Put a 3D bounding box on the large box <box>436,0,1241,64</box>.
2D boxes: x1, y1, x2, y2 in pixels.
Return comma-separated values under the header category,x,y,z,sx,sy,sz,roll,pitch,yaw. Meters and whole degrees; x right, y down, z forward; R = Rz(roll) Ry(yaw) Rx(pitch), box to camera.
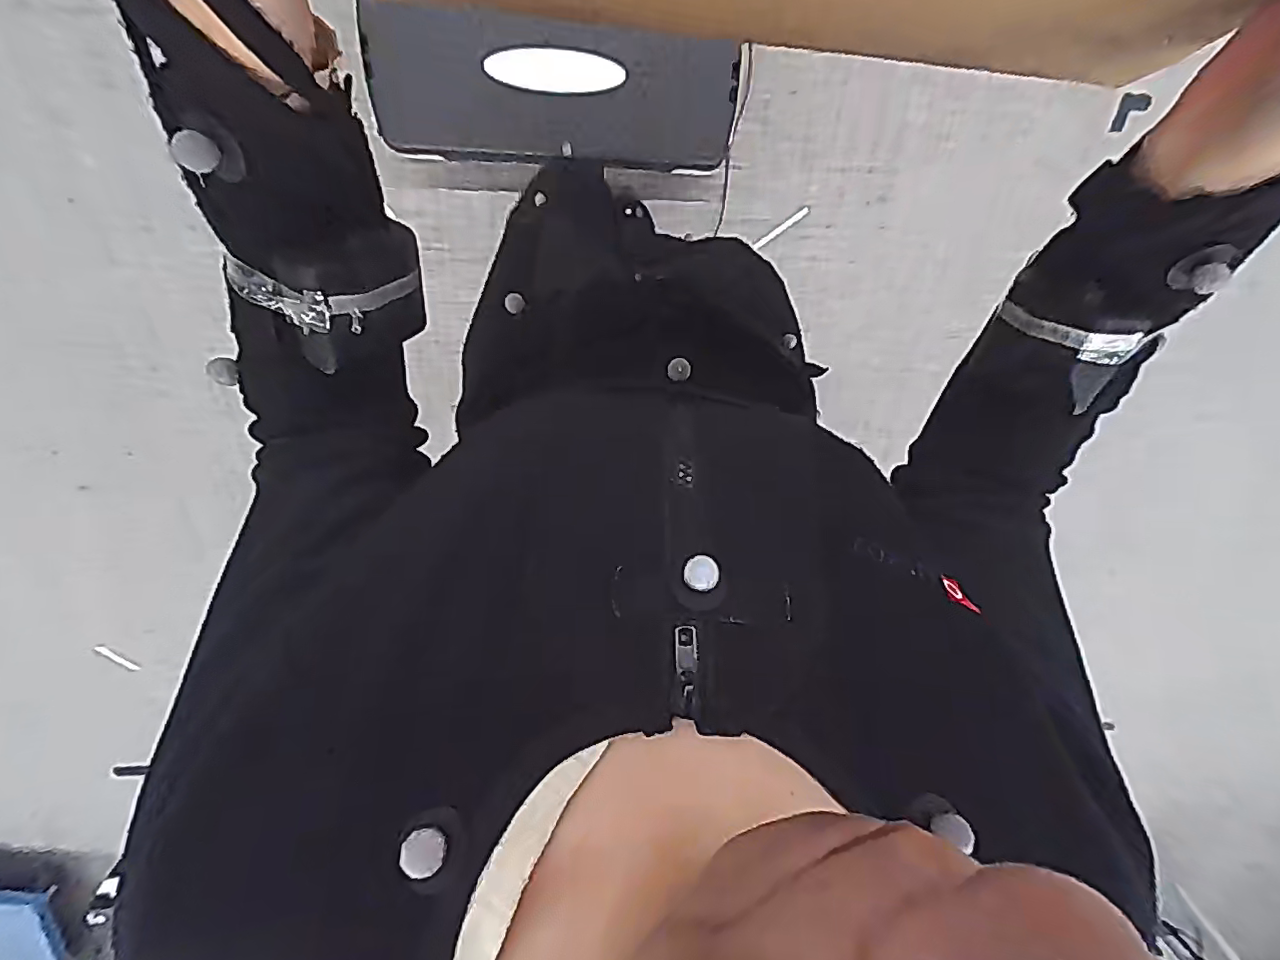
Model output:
category,x,y,z,sx,sy,sz,roll,pitch,yaw
large box,0.076,-0.345,0.101,0.408,0.320,0.320,2,105,-4
